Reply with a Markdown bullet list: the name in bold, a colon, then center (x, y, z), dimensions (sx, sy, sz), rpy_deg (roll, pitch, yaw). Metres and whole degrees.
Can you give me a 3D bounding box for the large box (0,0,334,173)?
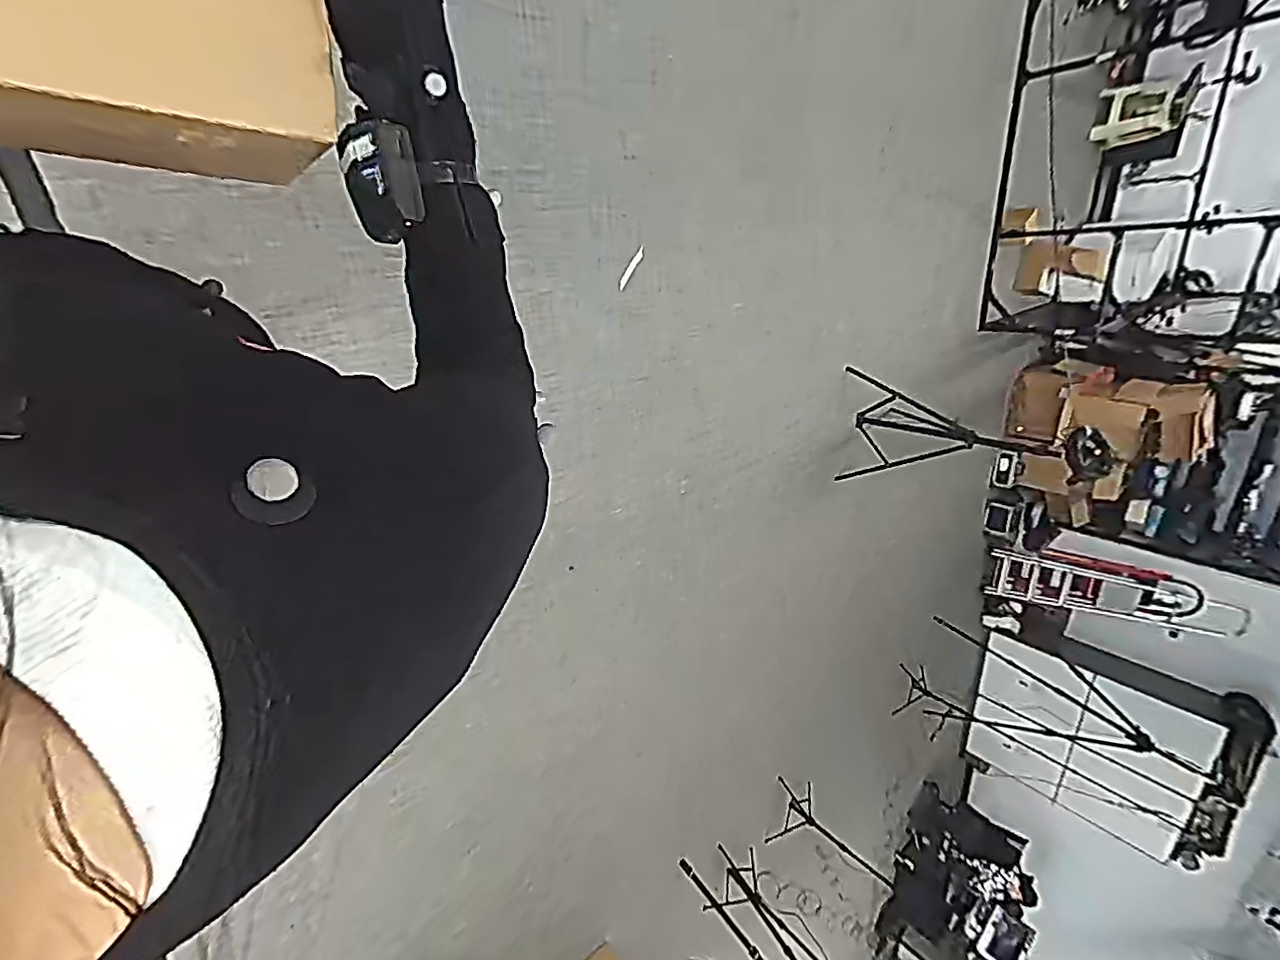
- **large box**: center (-0.446, -0.387, 0.306), dimensions (0.408, 0.320, 0.320), rpy_deg (-12, 117, -36)
